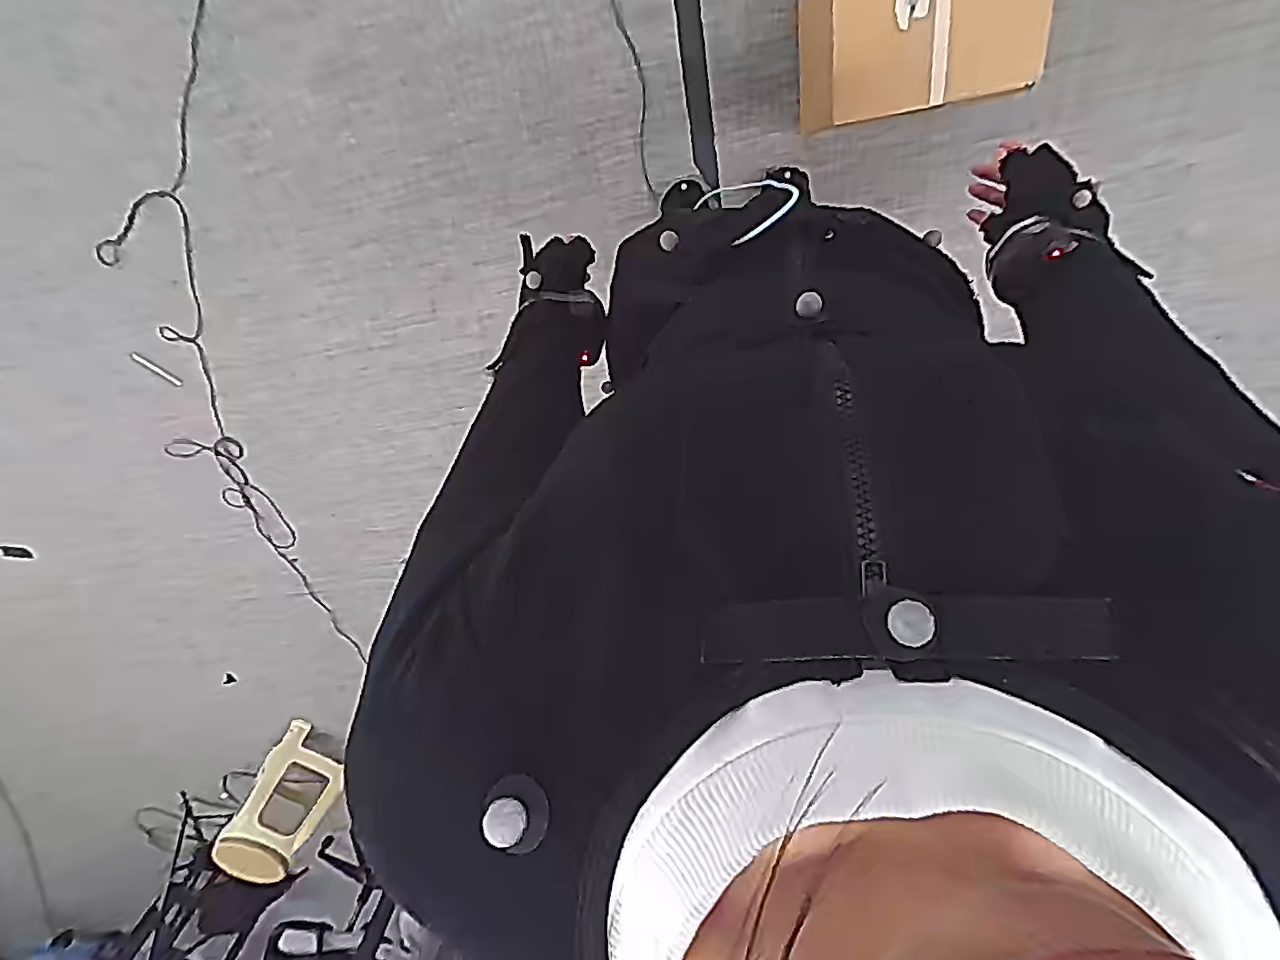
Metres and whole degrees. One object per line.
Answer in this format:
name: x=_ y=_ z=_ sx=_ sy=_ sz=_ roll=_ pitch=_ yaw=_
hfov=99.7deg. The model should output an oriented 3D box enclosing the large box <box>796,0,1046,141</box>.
large box: x=0.444 y=-0.837 z=0.909 sx=0.320 sy=0.320 sz=0.408 roll=-6 pitch=119 yaw=10
